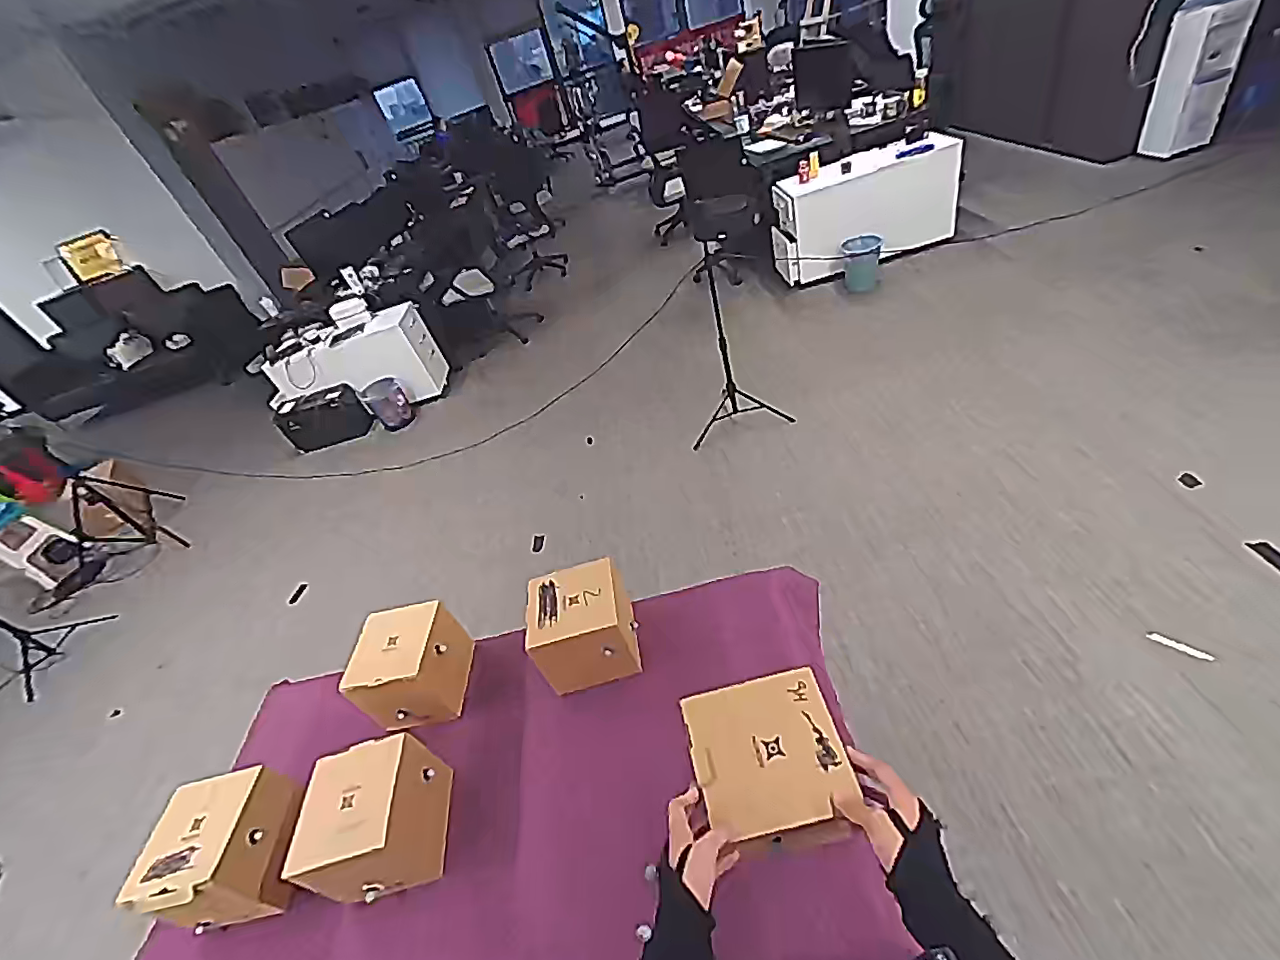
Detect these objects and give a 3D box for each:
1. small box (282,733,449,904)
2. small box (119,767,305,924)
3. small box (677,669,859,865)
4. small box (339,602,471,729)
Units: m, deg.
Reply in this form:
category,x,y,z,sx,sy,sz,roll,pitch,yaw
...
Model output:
category,x,y,z,sx,sy,sz,roll,pitch,yaw
small box,-0.437,0.561,0.898,0.168,0.176,0.179,-19,39,3
small box,-0.701,0.630,0.926,0.168,0.176,0.179,-16,38,5
small box,0.159,0.373,0.696,0.179,0.176,0.168,-15,47,1
small box,-0.469,0.382,1.114,0.168,0.176,0.179,-13,40,8
